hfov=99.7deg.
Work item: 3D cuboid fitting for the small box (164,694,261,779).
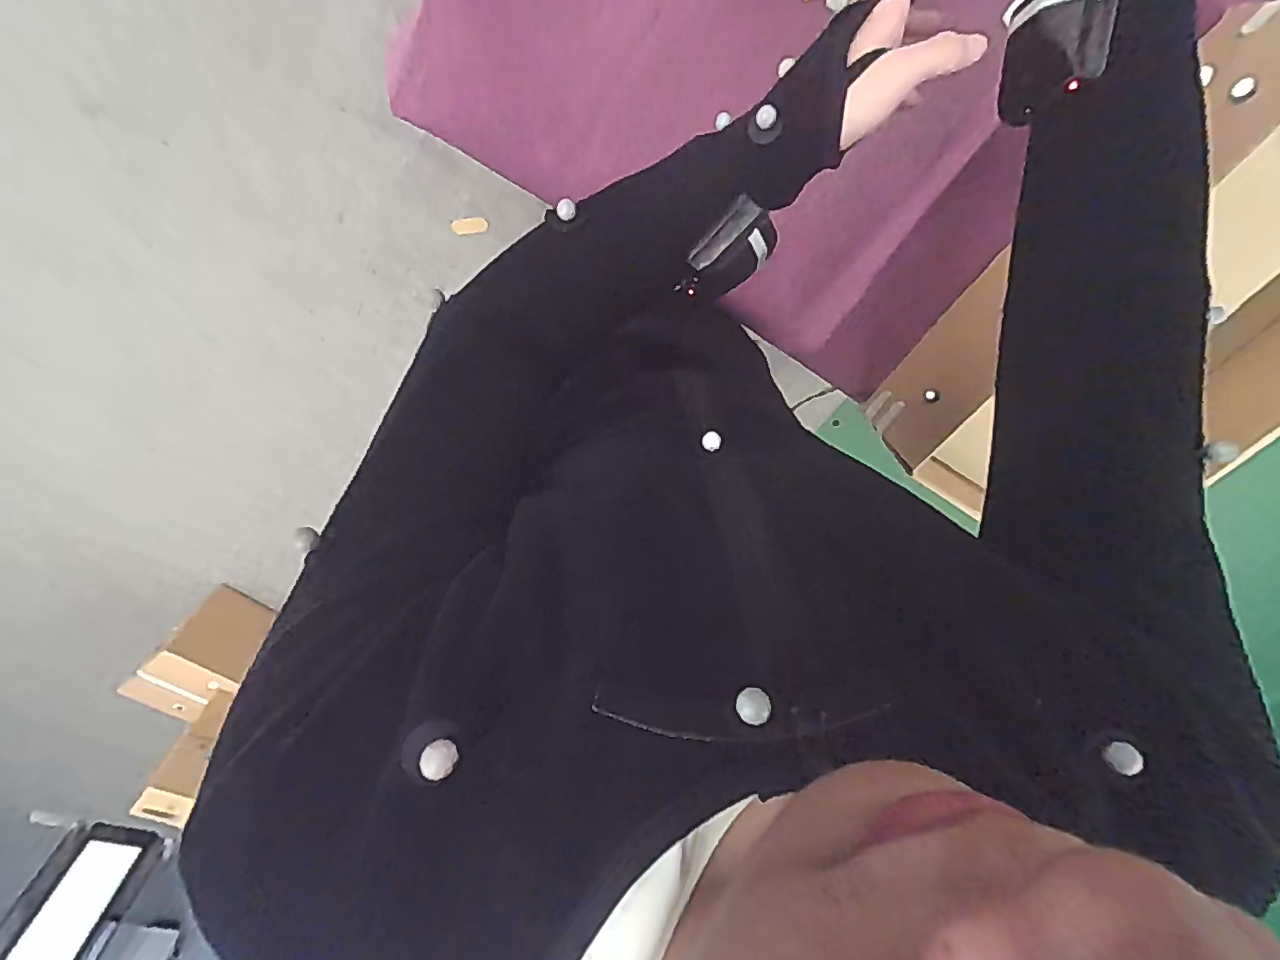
[{"bbox_3d":[-1.394,0.837,1.777,0.168,0.176,0.179,38,112,-24],"label":"small box"}]
